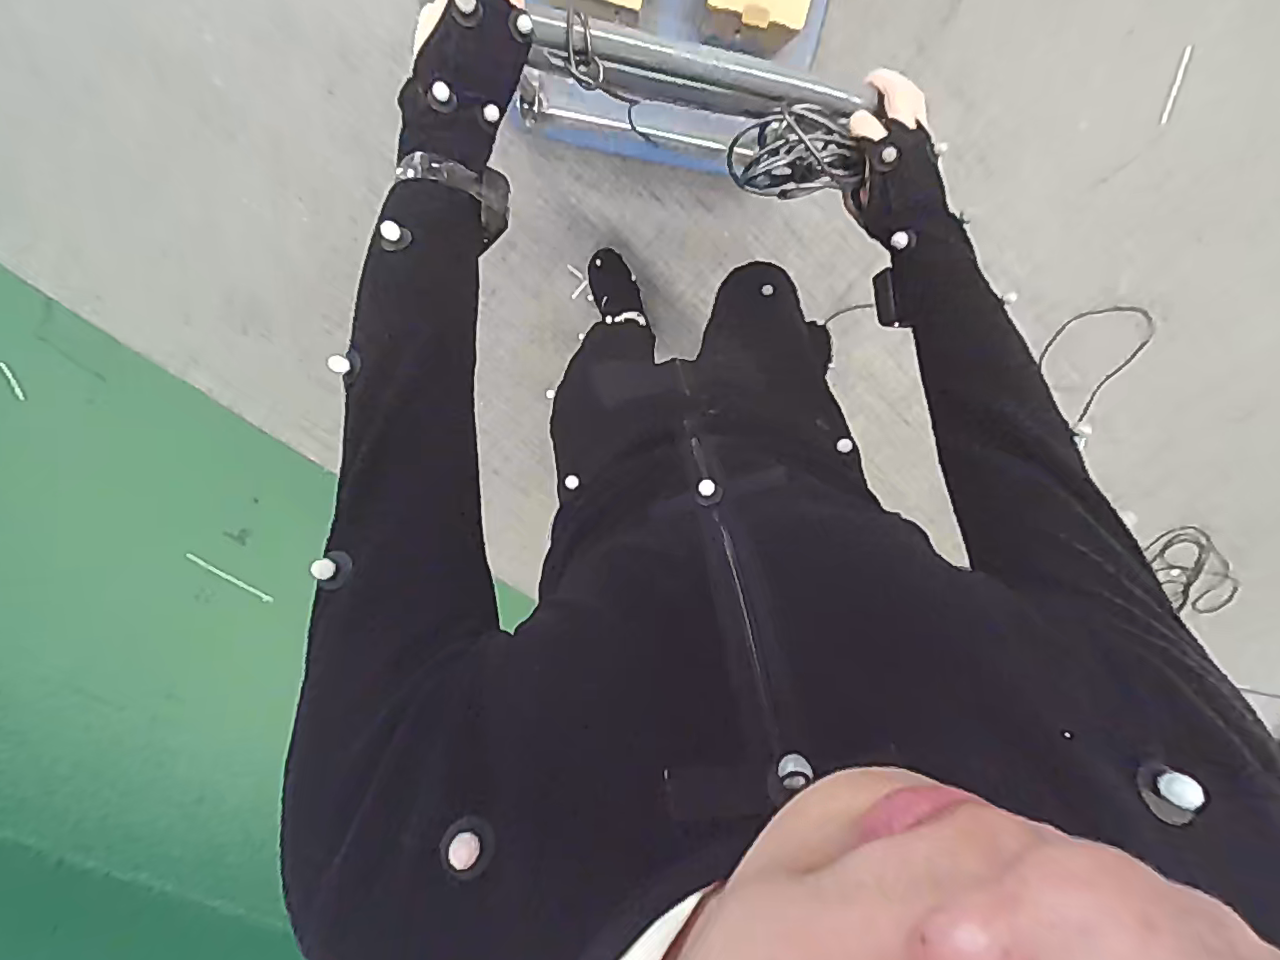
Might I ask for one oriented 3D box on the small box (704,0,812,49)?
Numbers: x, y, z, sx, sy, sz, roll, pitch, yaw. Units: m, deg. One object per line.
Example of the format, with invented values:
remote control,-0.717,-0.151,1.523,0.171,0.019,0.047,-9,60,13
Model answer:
small box,0.210,-0.871,0.916,0.168,0.176,0.179,11,119,-5
